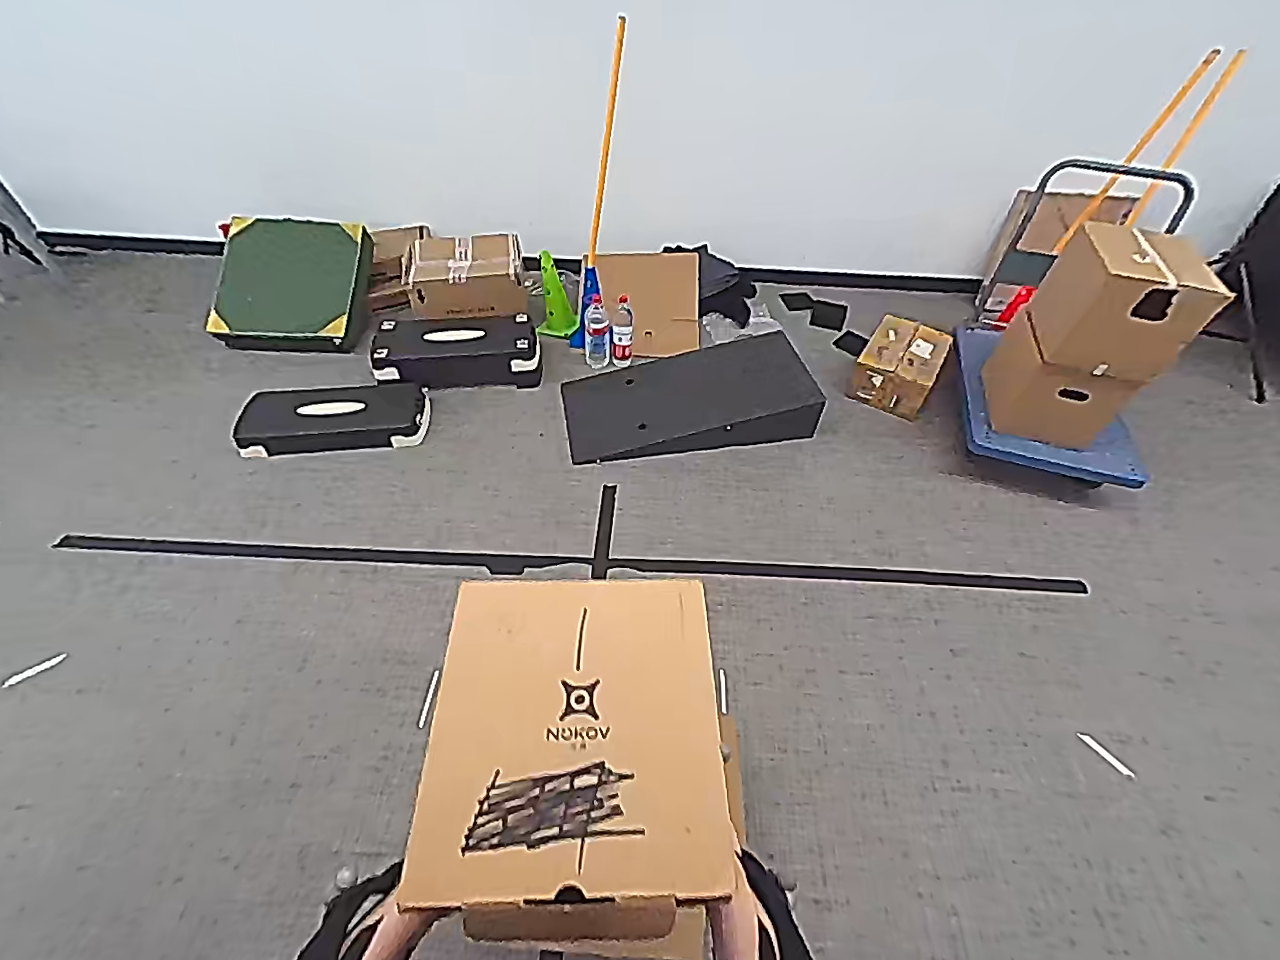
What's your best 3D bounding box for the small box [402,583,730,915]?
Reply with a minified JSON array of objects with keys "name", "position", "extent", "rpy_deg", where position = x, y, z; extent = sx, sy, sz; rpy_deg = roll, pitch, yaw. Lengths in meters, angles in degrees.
[{"name":"small box","position":[-0.037,0.188,0.377],"extent":[0.168,0.176,0.179],"rpy_deg":[1,51,-2]}]
